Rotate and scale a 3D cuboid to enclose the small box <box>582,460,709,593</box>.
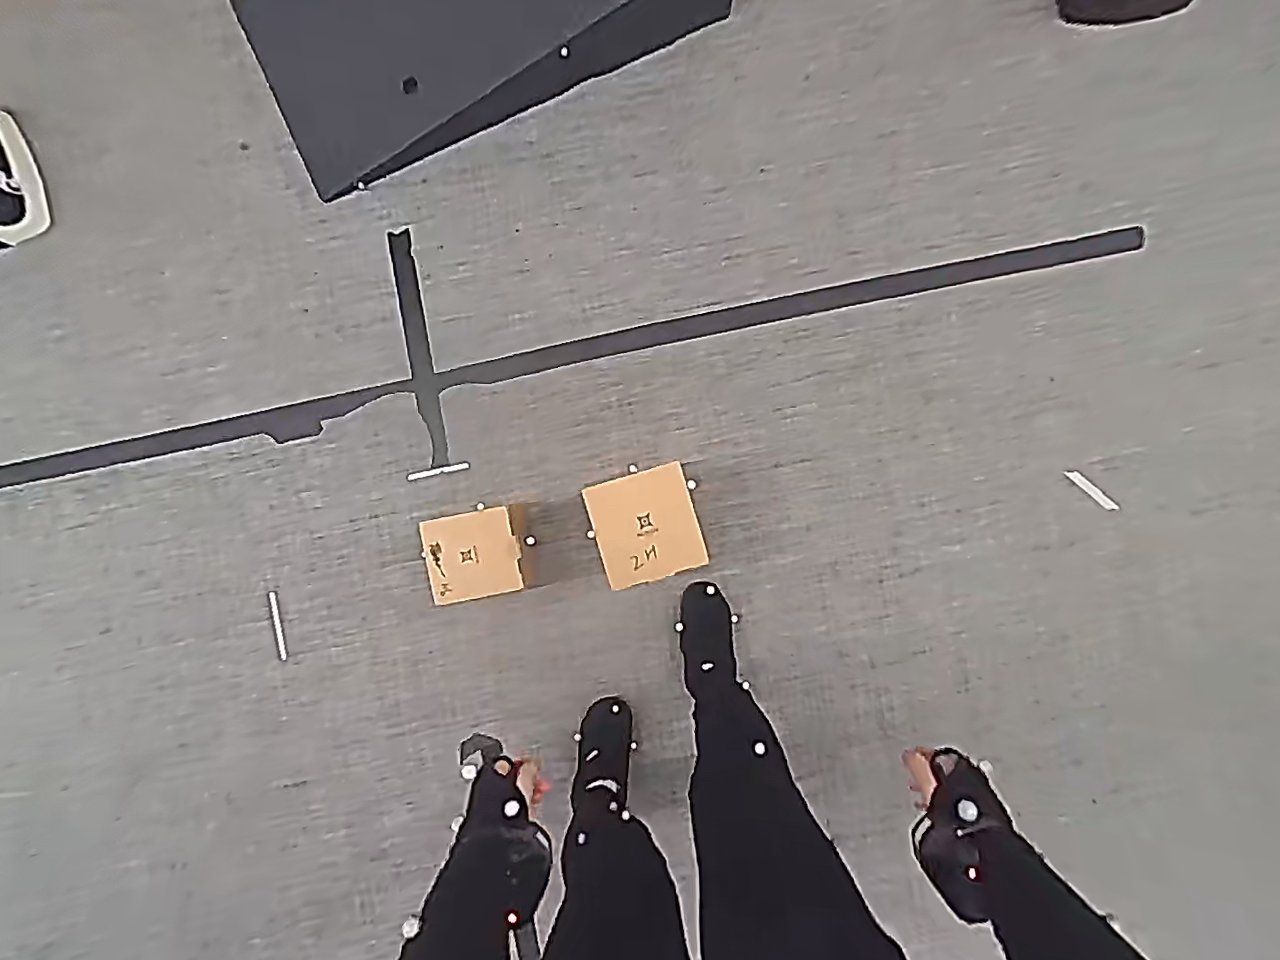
[{"bbox_3d":[0.008,0.074,0.926,0.168,0.176,0.179,-16,90,1],"label":"small box"}]

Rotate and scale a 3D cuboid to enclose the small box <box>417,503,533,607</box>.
[{"bbox_3d":[-0.320,0.143,1.093,0.179,0.176,0.168,-11,90,0],"label":"small box"}]
